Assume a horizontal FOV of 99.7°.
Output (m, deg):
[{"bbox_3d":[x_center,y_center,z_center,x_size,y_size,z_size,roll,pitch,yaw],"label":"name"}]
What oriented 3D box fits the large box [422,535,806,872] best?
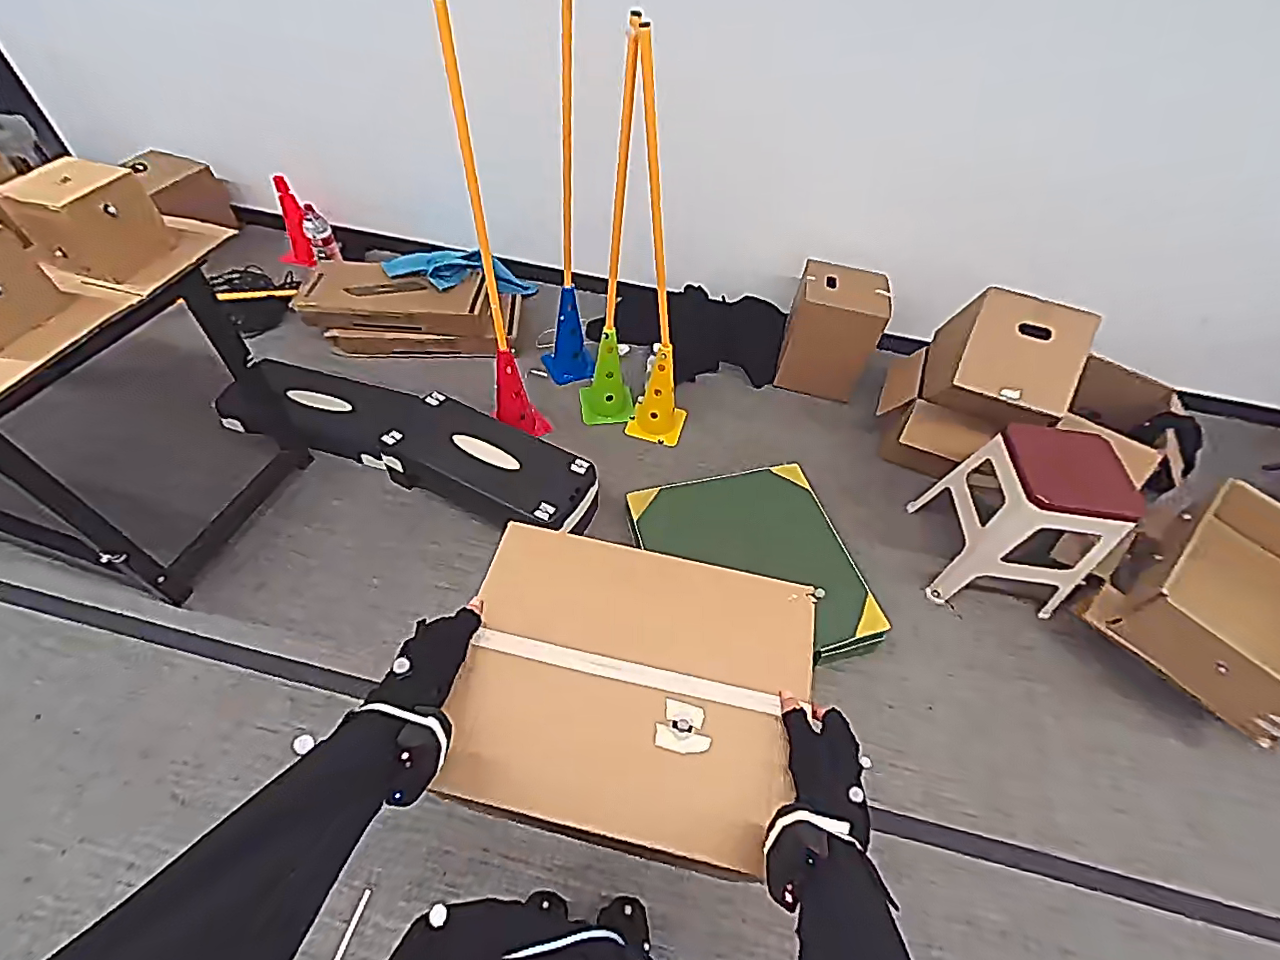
[{"bbox_3d":[-0.017,0.317,0.754,0.408,0.320,0.320,12,55,4],"label":"large box"}]
